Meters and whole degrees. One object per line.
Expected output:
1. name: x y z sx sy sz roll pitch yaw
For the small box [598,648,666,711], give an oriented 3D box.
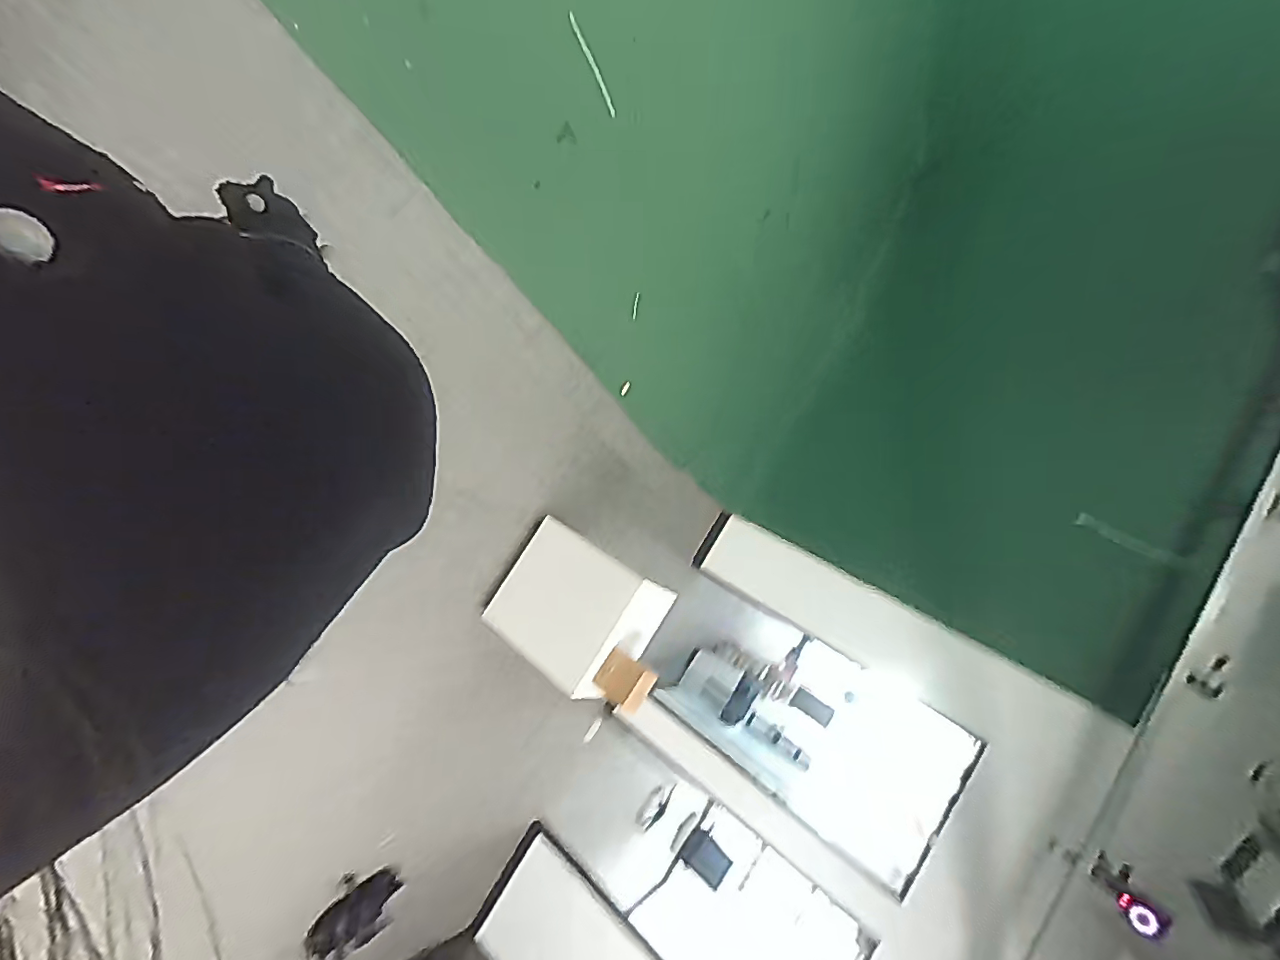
1. small box: -0.031 0.780 2.119 0.168 0.176 0.179 -57 148 -10
